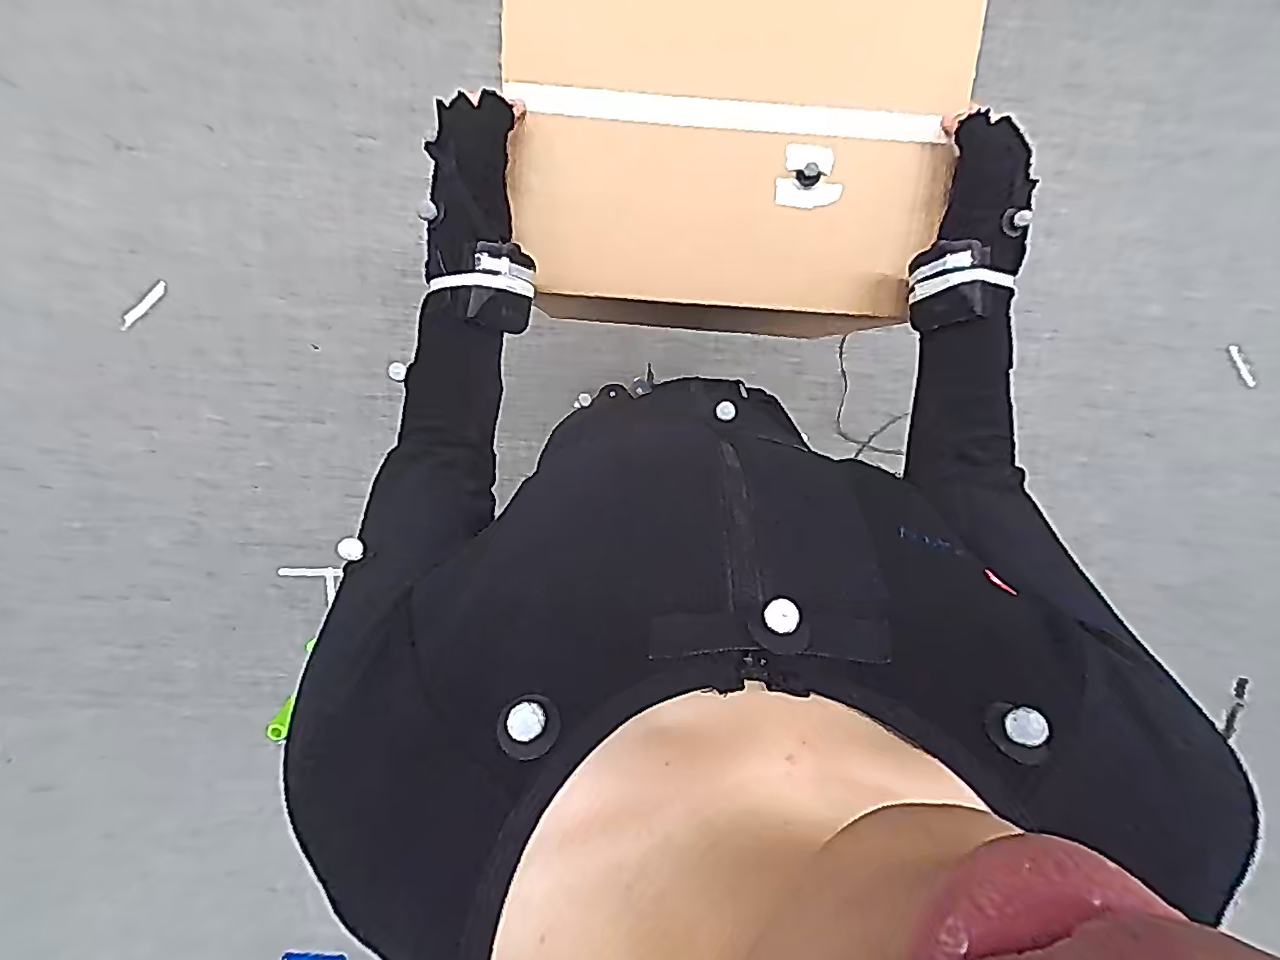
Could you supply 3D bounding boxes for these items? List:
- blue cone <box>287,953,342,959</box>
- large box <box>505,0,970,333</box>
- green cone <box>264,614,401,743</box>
[{"bbox_3d":[-1.029,1.619,1.558,0.192,0.380,0.193,7,99,-1],"label":"blue cone"},{"bbox_3d":[0.074,-0.347,0.621,0.408,0.320,0.320,3,102,-3],"label":"large box"},{"bbox_3d":[-0.806,0.526,1.365,0.202,0.368,0.200,-34,98,6],"label":"green cone"}]
